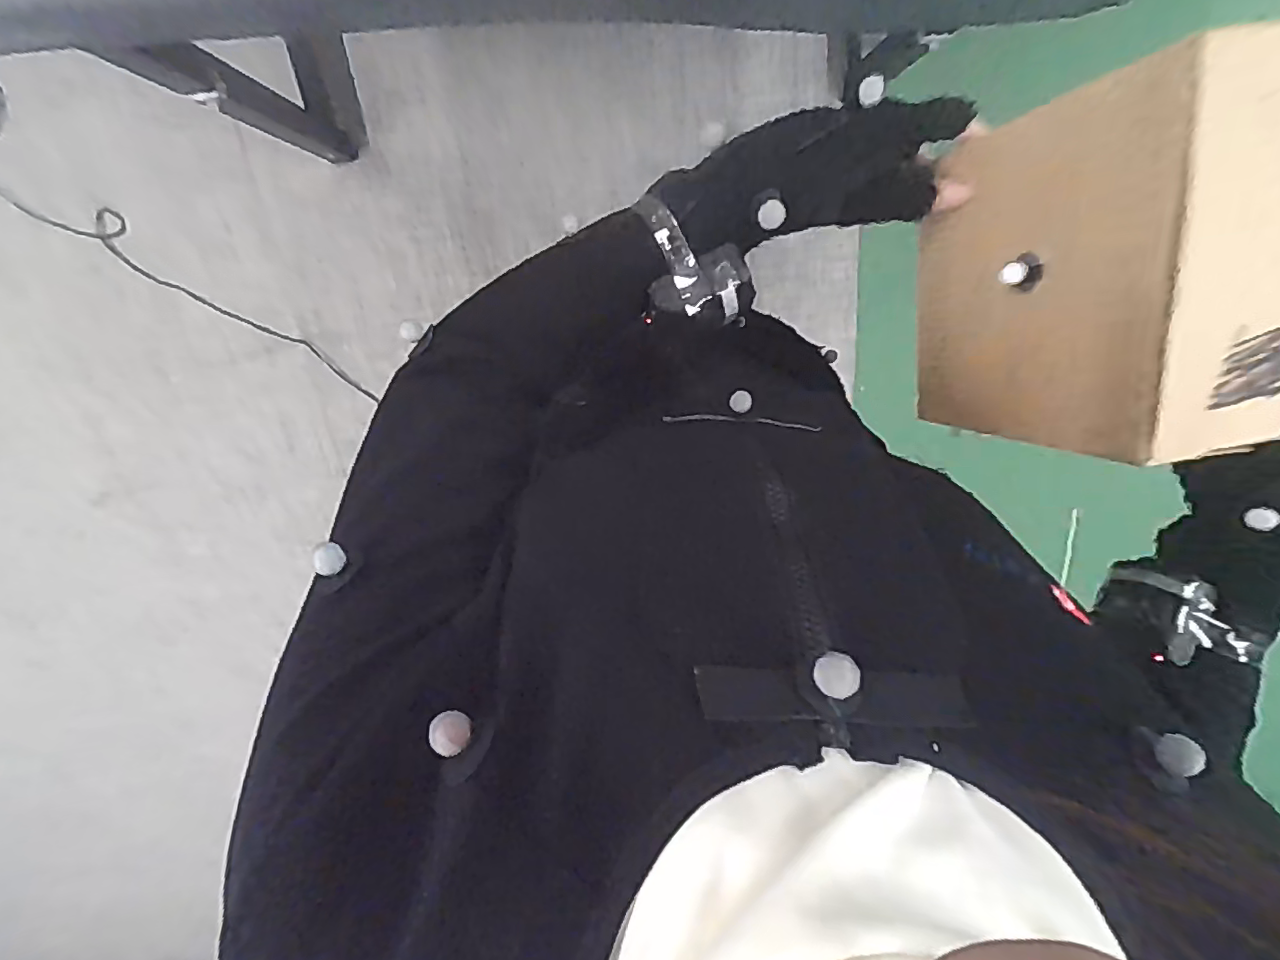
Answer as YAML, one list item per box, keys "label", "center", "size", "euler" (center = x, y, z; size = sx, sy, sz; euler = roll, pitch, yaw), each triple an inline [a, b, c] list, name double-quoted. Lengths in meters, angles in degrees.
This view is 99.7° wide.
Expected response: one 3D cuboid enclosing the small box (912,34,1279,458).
- label: "small box"
  center: [0.288, -0.123, 0.324]
  size: [0.168, 0.176, 0.179]
  euler: [-9, 105, -7]
